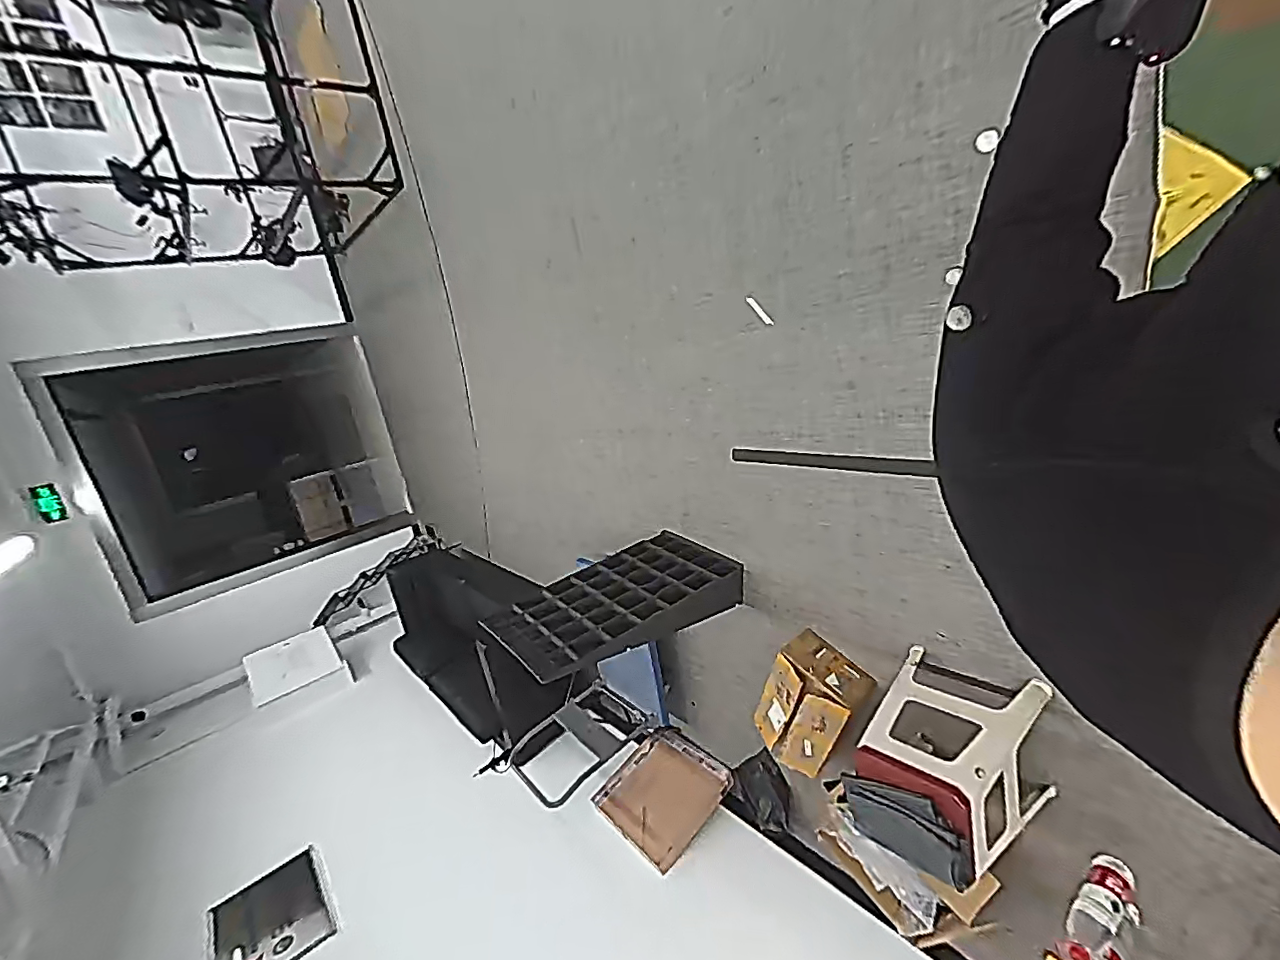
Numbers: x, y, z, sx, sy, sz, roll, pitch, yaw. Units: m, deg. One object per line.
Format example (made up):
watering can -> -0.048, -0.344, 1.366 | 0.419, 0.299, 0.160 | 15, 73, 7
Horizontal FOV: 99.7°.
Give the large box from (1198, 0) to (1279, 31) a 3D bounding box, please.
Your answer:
large box -> 0.582, -0.523, 0.272 | 0.408, 0.320, 0.320 | 12, 119, 49
